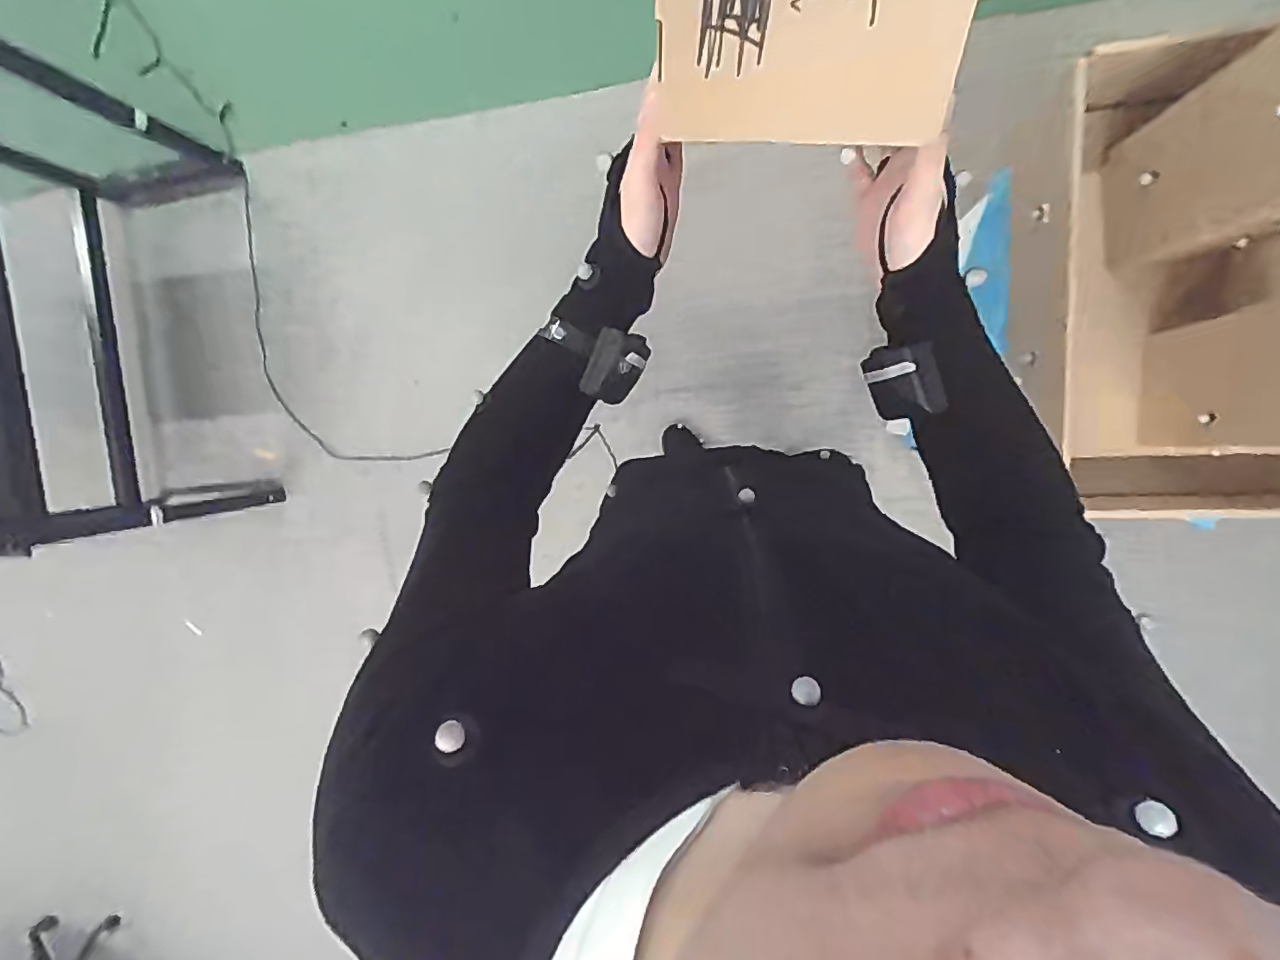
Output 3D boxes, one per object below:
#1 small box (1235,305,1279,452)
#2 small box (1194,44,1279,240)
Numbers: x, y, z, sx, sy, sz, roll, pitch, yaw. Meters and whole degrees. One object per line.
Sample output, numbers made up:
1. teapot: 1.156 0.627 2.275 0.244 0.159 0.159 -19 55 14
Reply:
1. small box: 0.815 -0.115 0.584 0.168 0.176 0.179 2 96 10
2. small box: 0.744 -0.380 0.570 0.168 0.176 0.179 -6 96 11
